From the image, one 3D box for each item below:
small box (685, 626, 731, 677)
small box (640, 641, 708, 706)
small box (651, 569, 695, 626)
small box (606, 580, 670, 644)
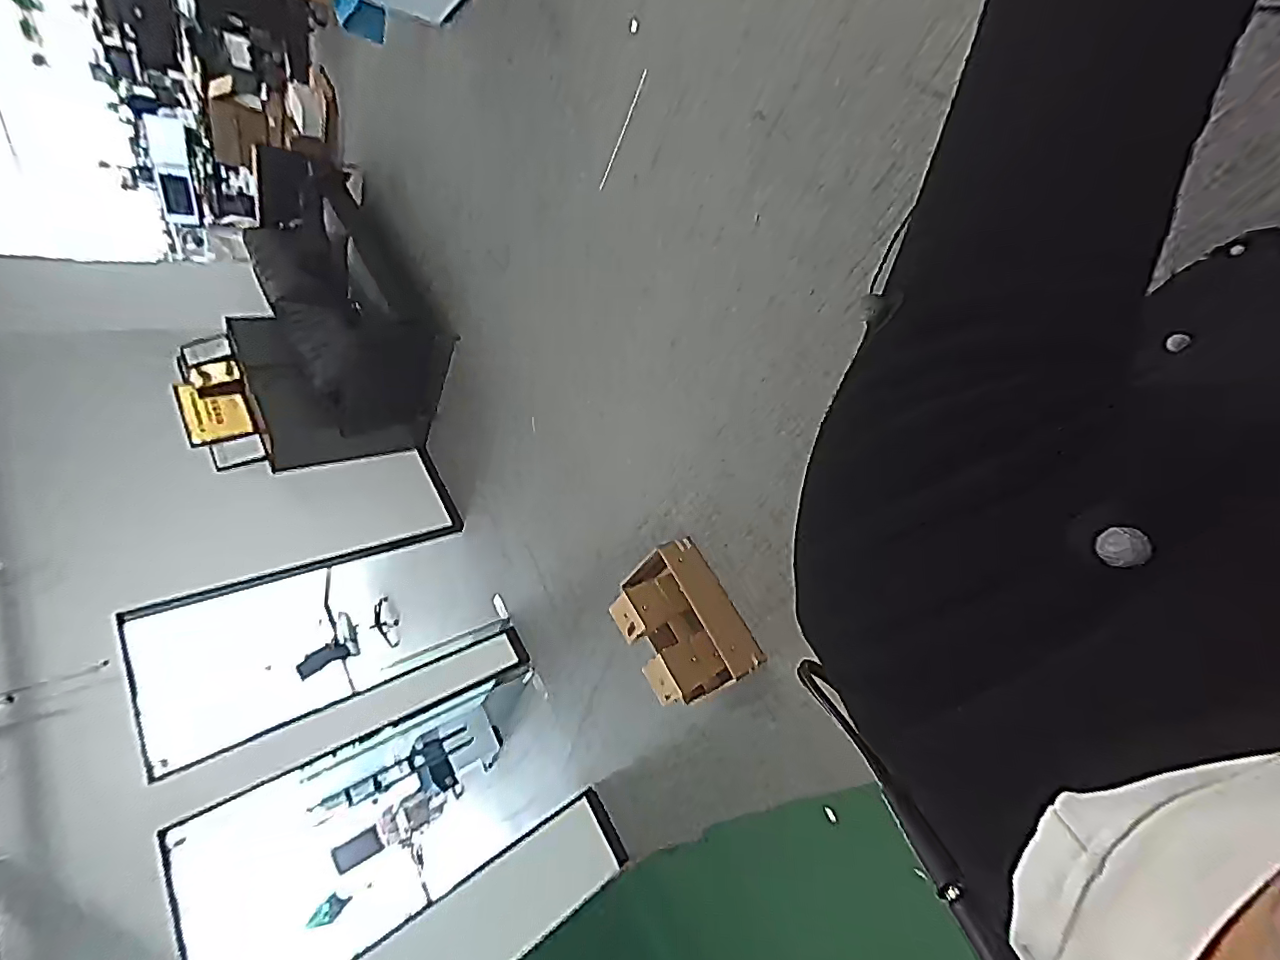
[{"bbox_3d":[0.256,0.738,2.265,0.168,0.176,0.179,58,138,20],"label":"small box"},{"bbox_3d":[0.134,0.766,2.157,0.179,0.176,0.168,58,138,21],"label":"small box"},{"bbox_3d":[0.116,0.512,2.358,0.168,0.176,0.179,59,137,18],"label":"small box"},{"bbox_3d":[-0.005,0.545,2.251,0.179,0.176,0.168,56,135,21],"label":"small box"}]
